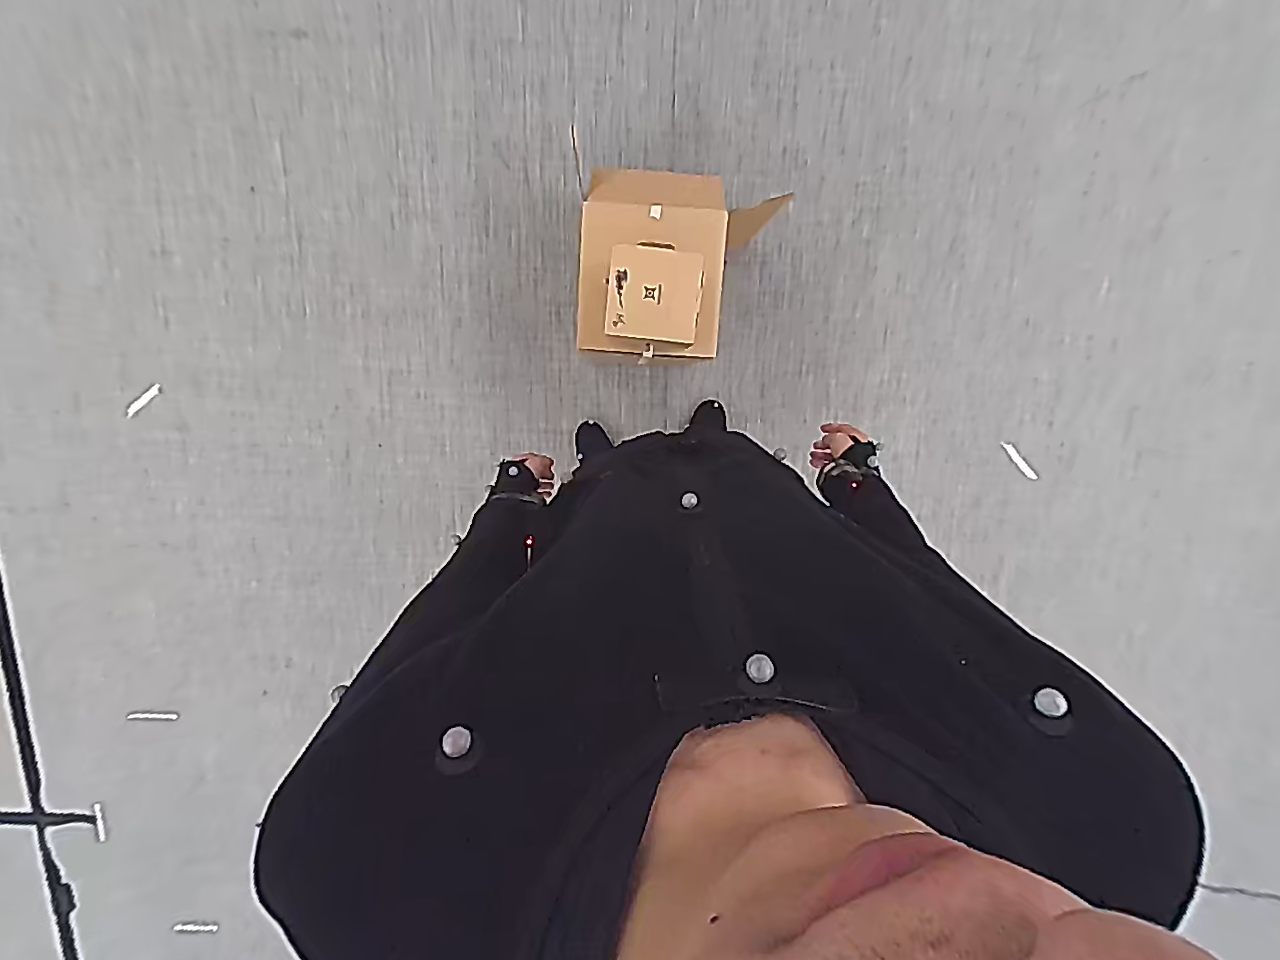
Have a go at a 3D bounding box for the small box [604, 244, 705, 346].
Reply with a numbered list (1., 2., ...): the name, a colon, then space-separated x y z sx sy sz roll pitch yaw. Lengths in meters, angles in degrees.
1. small box: 0.024 -0.366 1.101 0.179 0.176 0.168 6 101 -3
